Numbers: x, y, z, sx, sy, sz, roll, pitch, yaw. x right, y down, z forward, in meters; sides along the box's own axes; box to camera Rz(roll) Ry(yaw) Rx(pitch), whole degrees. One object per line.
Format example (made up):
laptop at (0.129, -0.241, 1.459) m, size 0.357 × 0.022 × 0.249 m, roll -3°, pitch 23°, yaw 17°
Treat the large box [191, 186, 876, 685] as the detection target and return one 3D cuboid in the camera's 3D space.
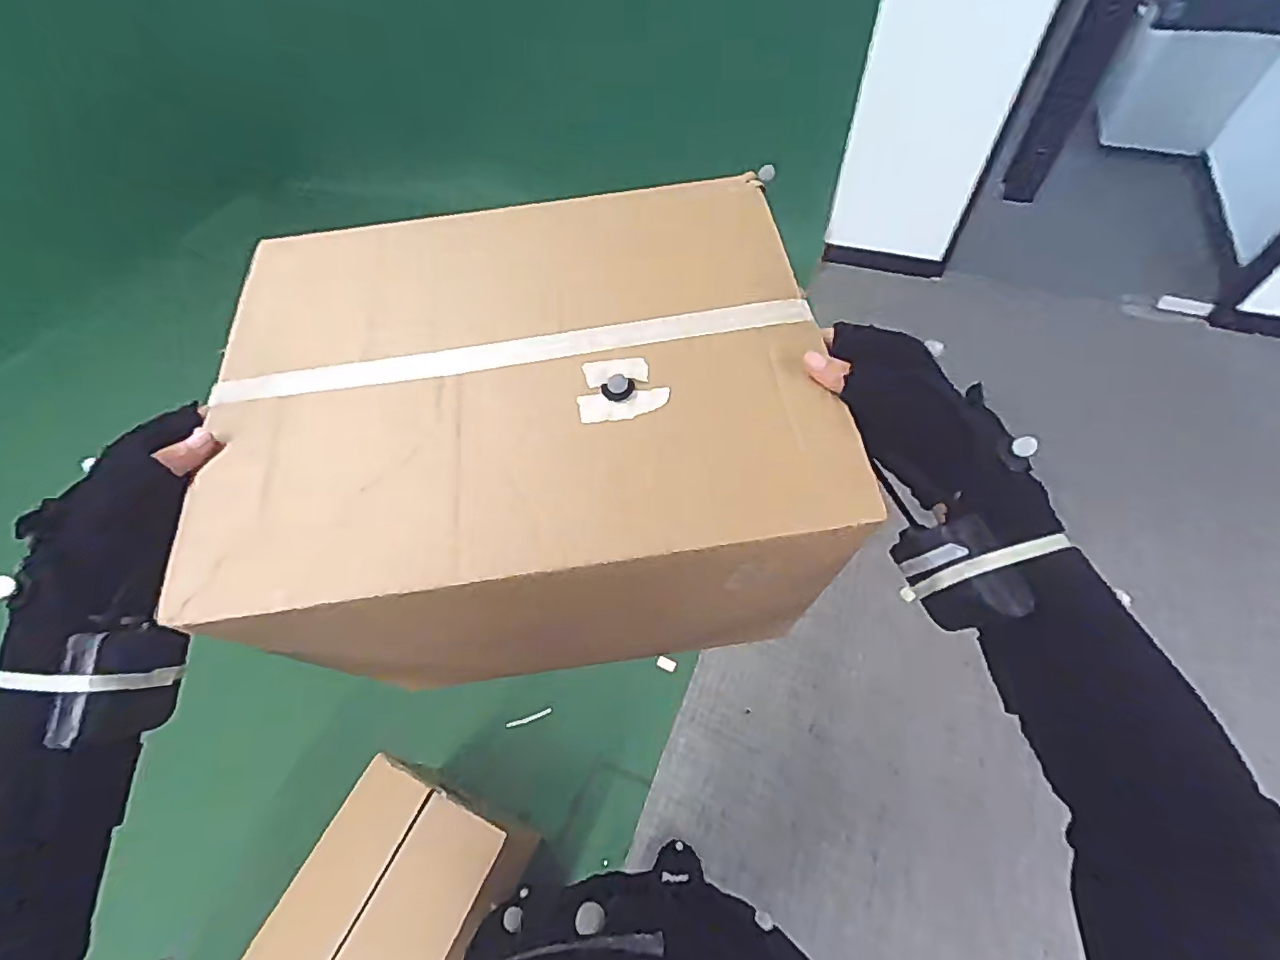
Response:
large box at (-0.073, -0.017, 0.507) m, size 0.408 × 0.320 × 0.320 m, roll -8°, pitch 63°, yaw -2°
